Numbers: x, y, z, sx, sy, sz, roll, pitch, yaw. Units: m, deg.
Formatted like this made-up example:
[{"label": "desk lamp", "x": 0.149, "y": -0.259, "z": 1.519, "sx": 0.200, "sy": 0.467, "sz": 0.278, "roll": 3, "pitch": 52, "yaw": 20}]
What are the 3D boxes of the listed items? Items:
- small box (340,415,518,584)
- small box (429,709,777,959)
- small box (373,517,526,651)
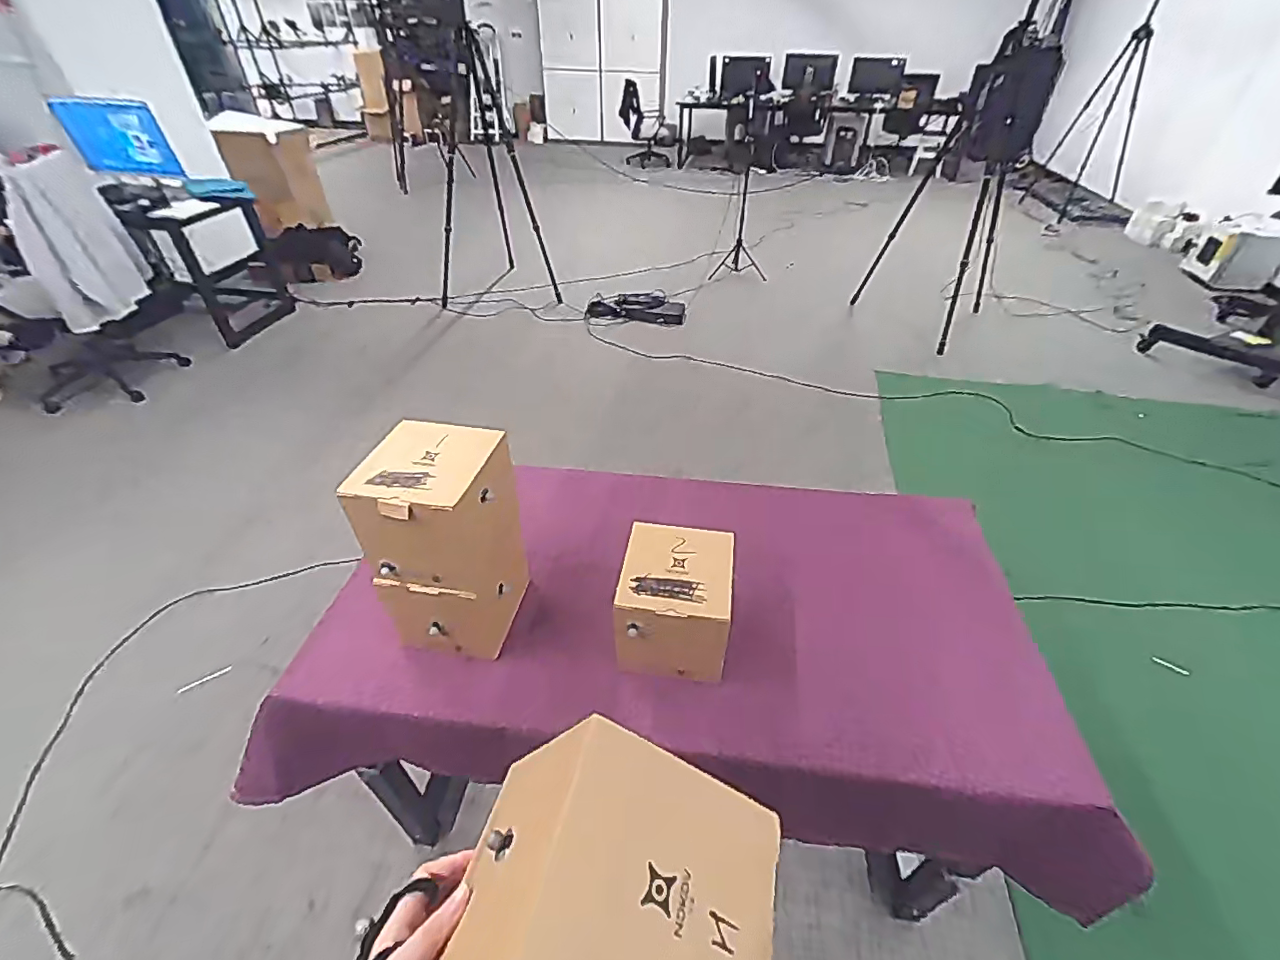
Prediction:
[{"label": "small box", "x": -0.290, "y": 0.028, "z": 0.792, "sx": 0.168, "sy": 0.176, "sz": 0.179, "roll": 8, "pitch": 40, "yaw": 8}, {"label": "small box", "x": -0.027, "y": 0.307, "z": 0.400, "sx": 0.179, "sy": 0.176, "sz": 0.168, "roll": 35, "pitch": 42, "yaw": -10}, {"label": "small box", "x": -0.298, "y": 0.158, "z": 0.894, "sx": 0.168, "sy": 0.176, "sz": 0.179, "roll": 8, "pitch": 42, "yaw": 7}]
